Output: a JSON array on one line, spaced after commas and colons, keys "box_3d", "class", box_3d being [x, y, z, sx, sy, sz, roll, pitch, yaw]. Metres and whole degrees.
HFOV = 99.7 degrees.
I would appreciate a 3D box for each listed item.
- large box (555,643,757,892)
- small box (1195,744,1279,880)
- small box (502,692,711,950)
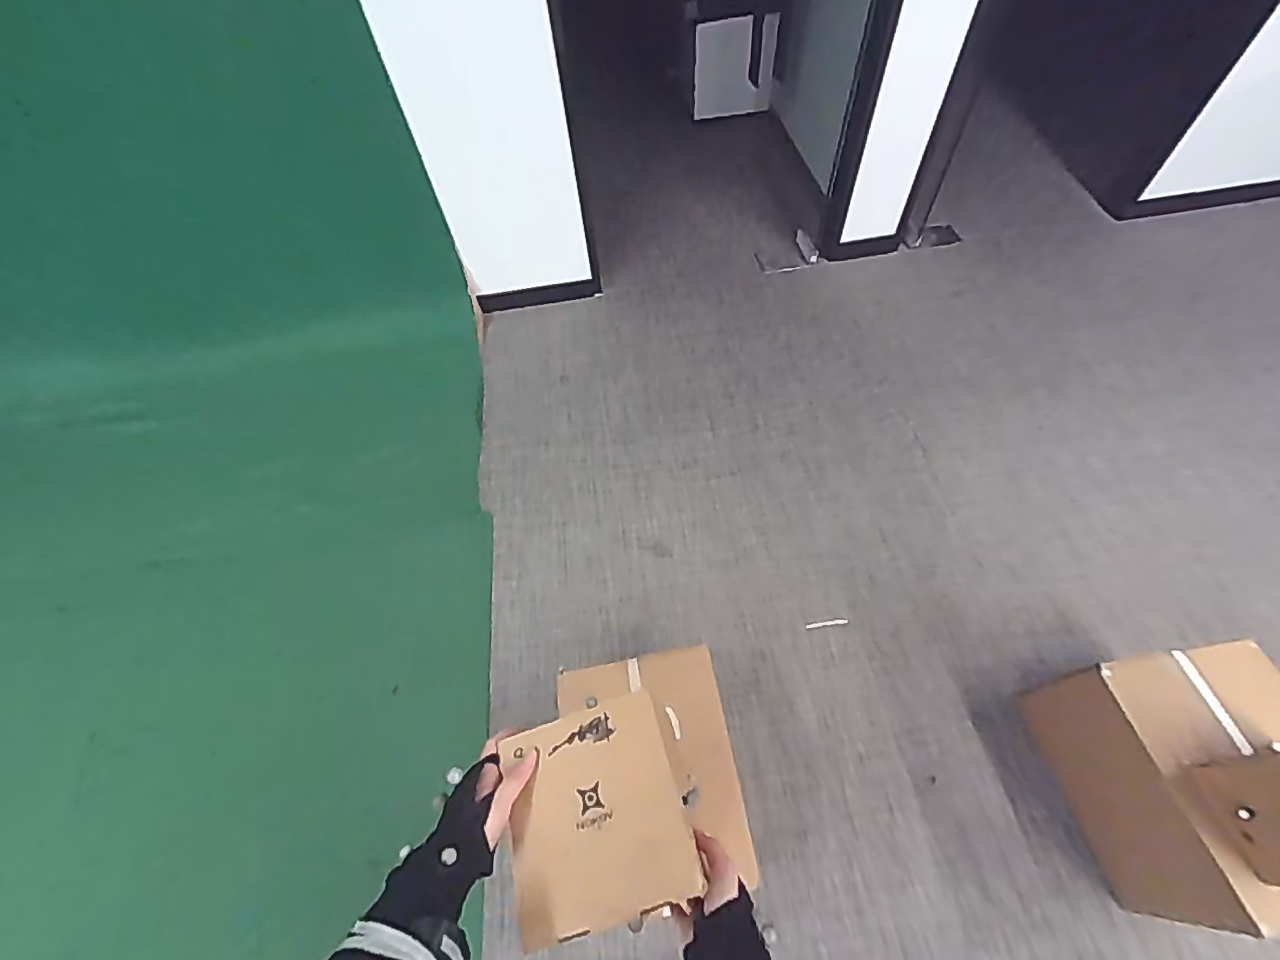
[{"box_3d": [0.024, 0.600, 1.108, 0.320, 0.320, 0.408, -10, 56, -2], "class": "large box"}, {"box_3d": [1.024, 0.493, 0.811, 0.179, 0.176, 0.168, -11, 58, -1], "class": "small box"}, {"box_3d": [-0.029, 0.348, 0.574, 0.168, 0.176, 0.179, -18, 58, -1], "class": "small box"}]
